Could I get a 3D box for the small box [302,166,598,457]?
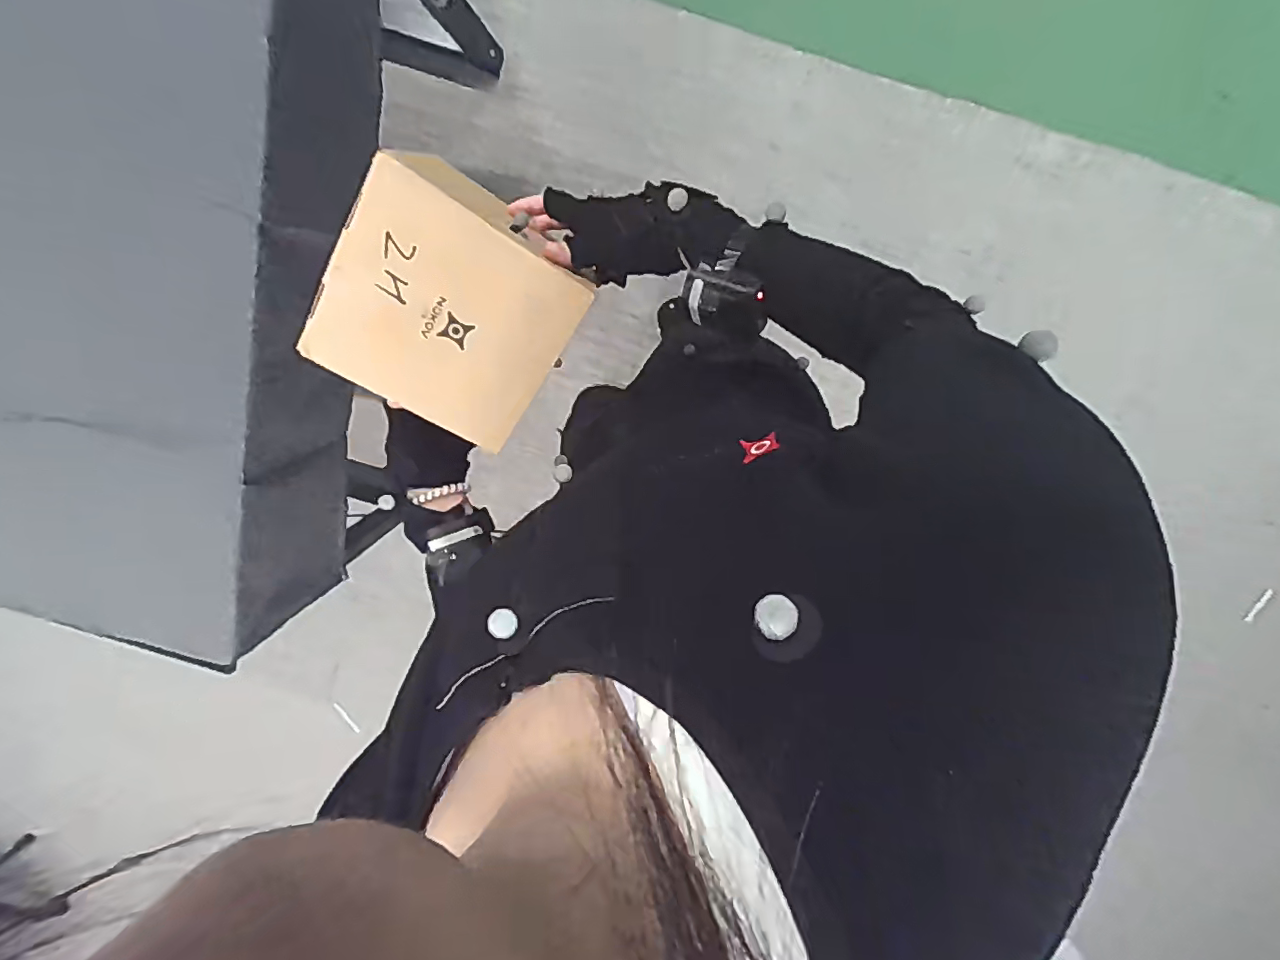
[{"bbox_3d":[-0.155,-0.157,0.491,0.179,0.176,0.168,30,112,-21],"label":"small box"}]
